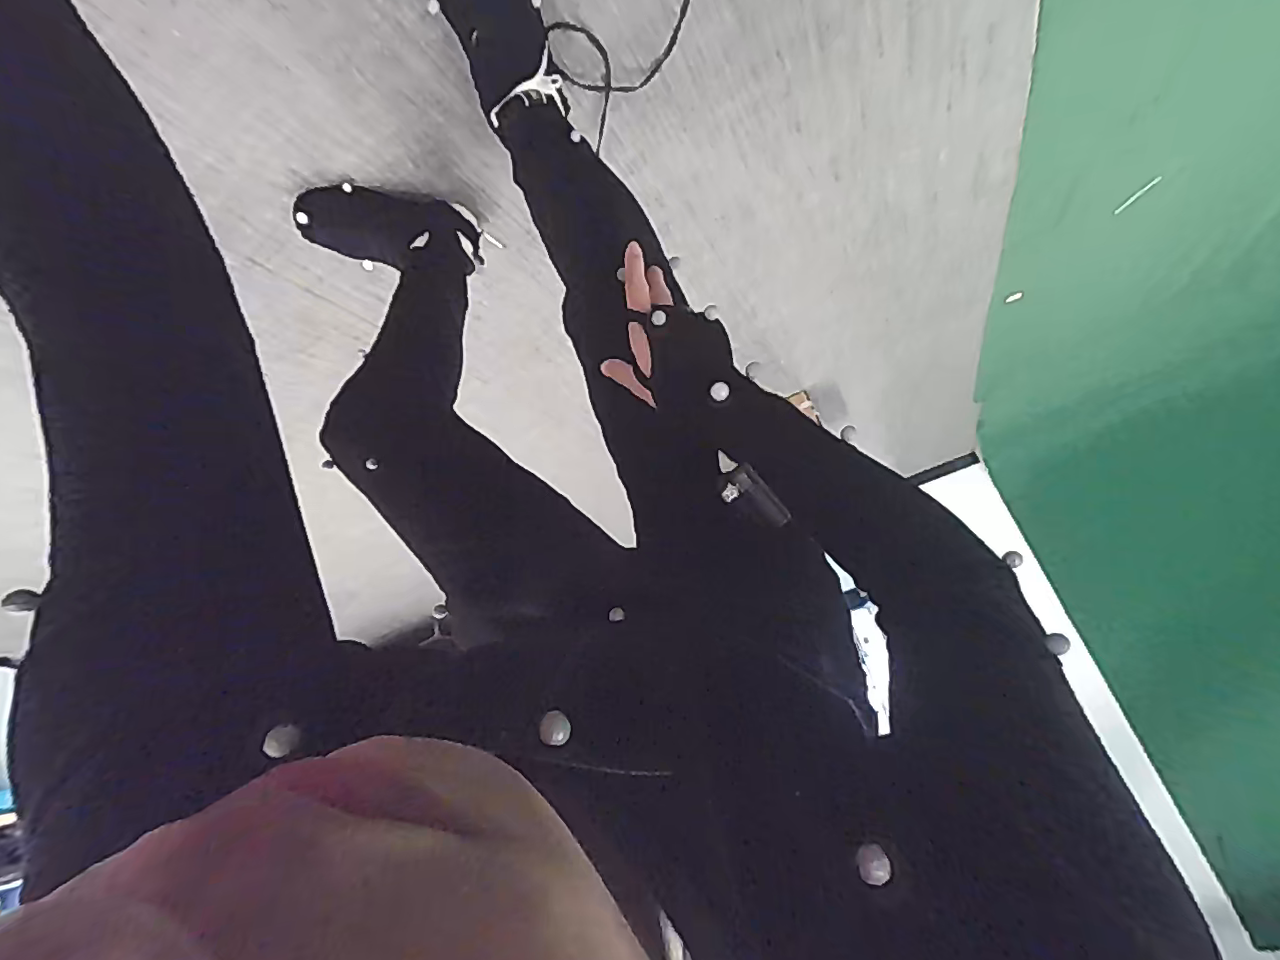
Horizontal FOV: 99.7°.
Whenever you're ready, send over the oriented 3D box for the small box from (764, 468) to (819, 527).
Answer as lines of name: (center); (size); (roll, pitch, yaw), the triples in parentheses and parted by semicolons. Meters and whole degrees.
small box: (0.595, 0.069, 2.118); (0.168, 0.176, 0.179); (-19, 157, 14)
